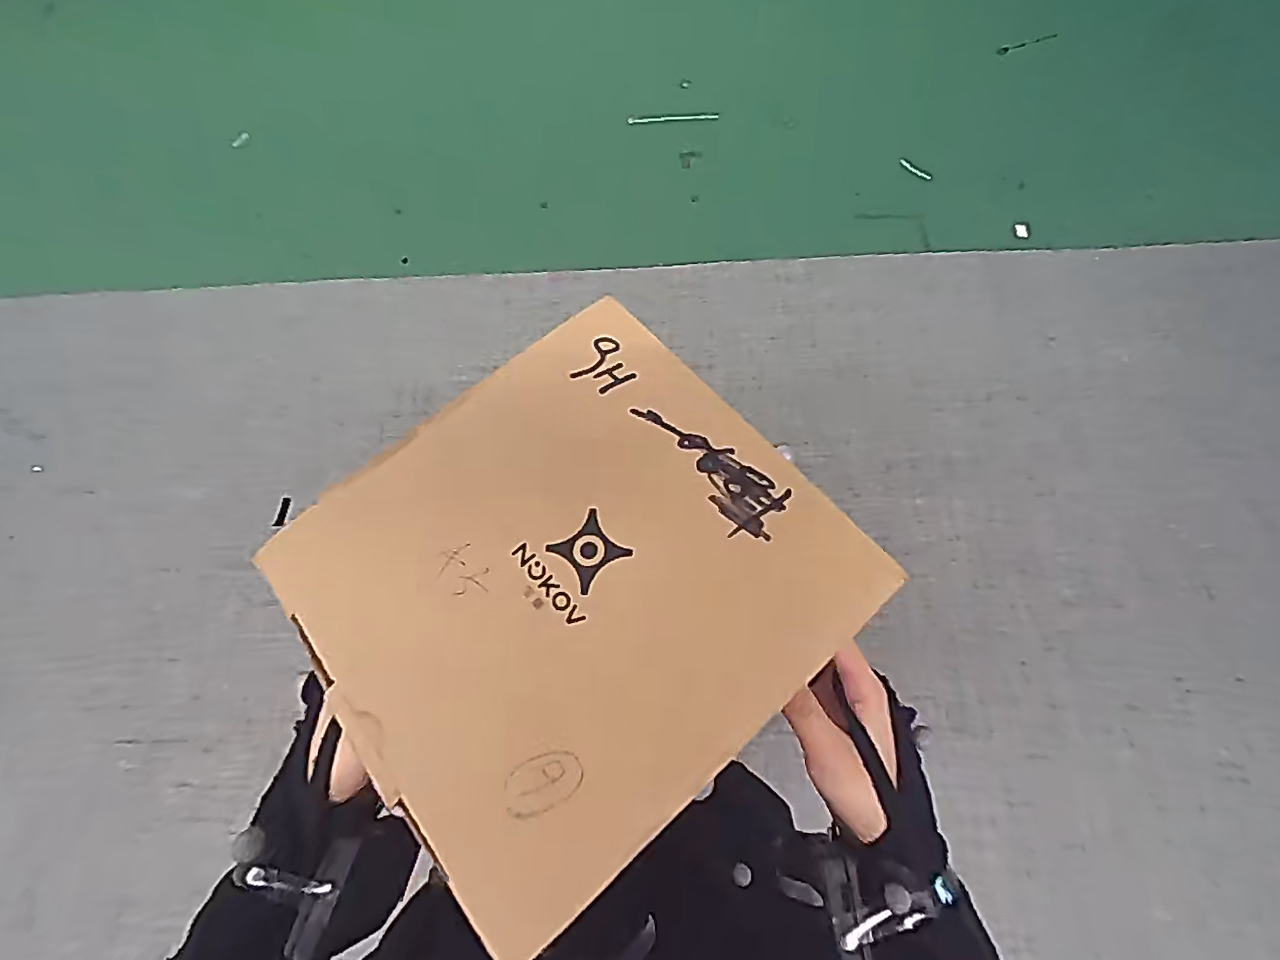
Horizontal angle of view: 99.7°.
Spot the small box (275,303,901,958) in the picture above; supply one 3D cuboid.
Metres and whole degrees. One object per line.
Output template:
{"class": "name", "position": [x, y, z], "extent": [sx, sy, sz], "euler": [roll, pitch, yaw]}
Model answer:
{"class": "small box", "position": [-0.018, 0.060, 0.270], "extent": [0.179, 0.176, 0.168], "euler": [-40, 72, -11]}
